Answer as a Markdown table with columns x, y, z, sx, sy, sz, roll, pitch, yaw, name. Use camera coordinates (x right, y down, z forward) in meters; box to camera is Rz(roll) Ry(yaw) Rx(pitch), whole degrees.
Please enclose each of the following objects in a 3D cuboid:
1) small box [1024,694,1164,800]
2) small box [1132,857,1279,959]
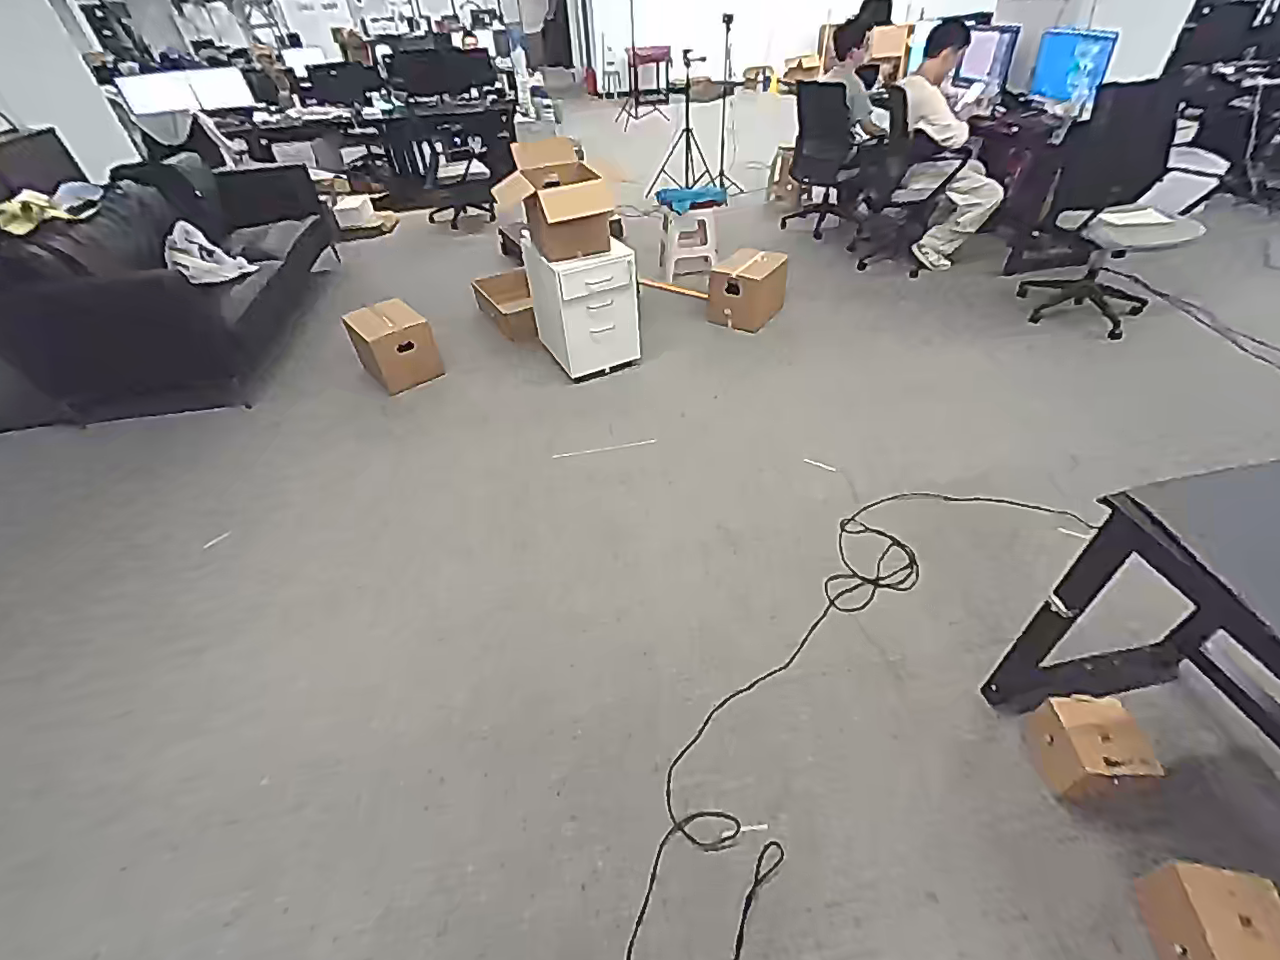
| x | y | z | sx | sy | sz | roll | pitch | yaw | name |
| --- | --- | --- | --- | --- | --- | --- | --- | --- | --- |
| 1.074 | 0.640 | 1.300 | 0.168 | 0.176 | 0.179 | -1 | 41 | 4 | small box |
| 1.117 | 0.867 | 1.041 | 0.168 | 0.176 | 0.179 | 5 | 41 | 10 | small box |
